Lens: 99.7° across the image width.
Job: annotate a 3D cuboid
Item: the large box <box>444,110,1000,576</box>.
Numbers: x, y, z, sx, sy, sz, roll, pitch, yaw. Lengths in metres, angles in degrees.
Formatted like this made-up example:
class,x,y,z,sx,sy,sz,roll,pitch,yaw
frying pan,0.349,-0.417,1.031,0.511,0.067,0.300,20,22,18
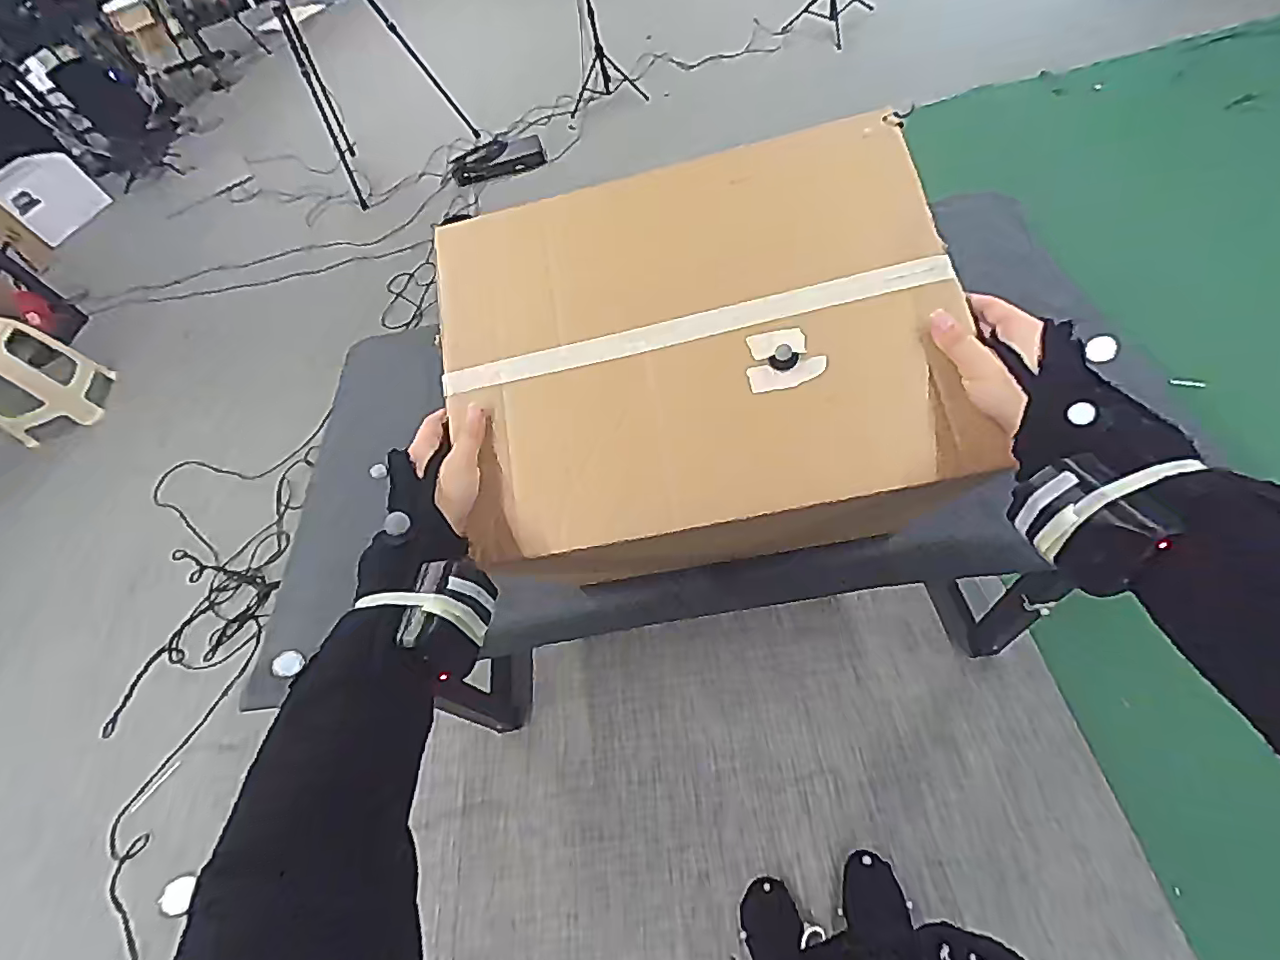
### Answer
class,x,y,z,sx,sy,sz,roll,pitch,yaw
large box,0.059,-0.094,0.582,0.408,0.320,0.320,-12,76,6
